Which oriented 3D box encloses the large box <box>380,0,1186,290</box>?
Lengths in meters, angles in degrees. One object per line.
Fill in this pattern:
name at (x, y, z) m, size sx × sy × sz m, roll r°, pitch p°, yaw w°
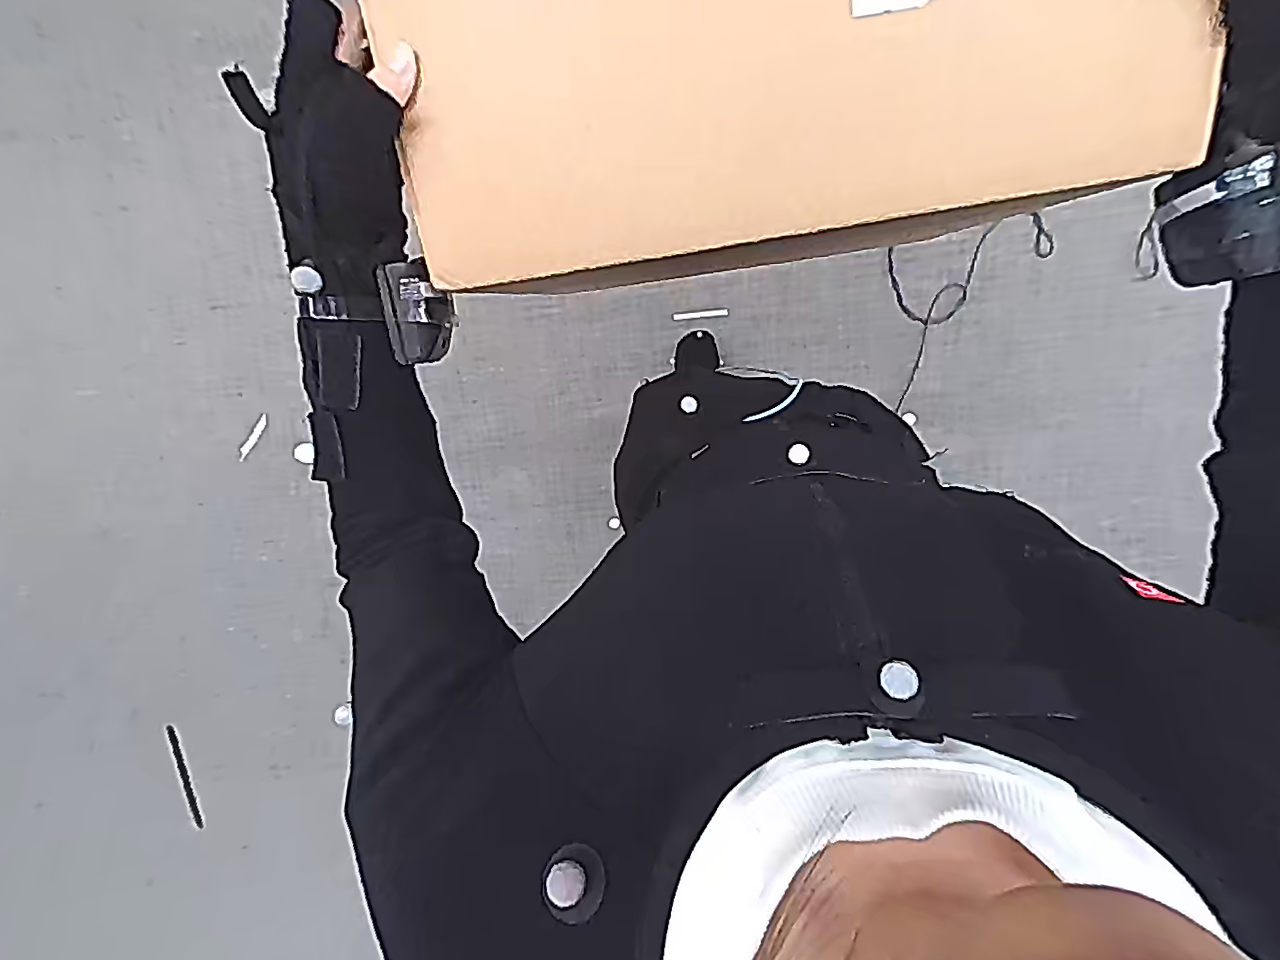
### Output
large box at (0.066, -0.337, 0.401) m, size 0.408 × 0.320 × 0.320 m, roll -7°, pitch 108°, yaw 8°
